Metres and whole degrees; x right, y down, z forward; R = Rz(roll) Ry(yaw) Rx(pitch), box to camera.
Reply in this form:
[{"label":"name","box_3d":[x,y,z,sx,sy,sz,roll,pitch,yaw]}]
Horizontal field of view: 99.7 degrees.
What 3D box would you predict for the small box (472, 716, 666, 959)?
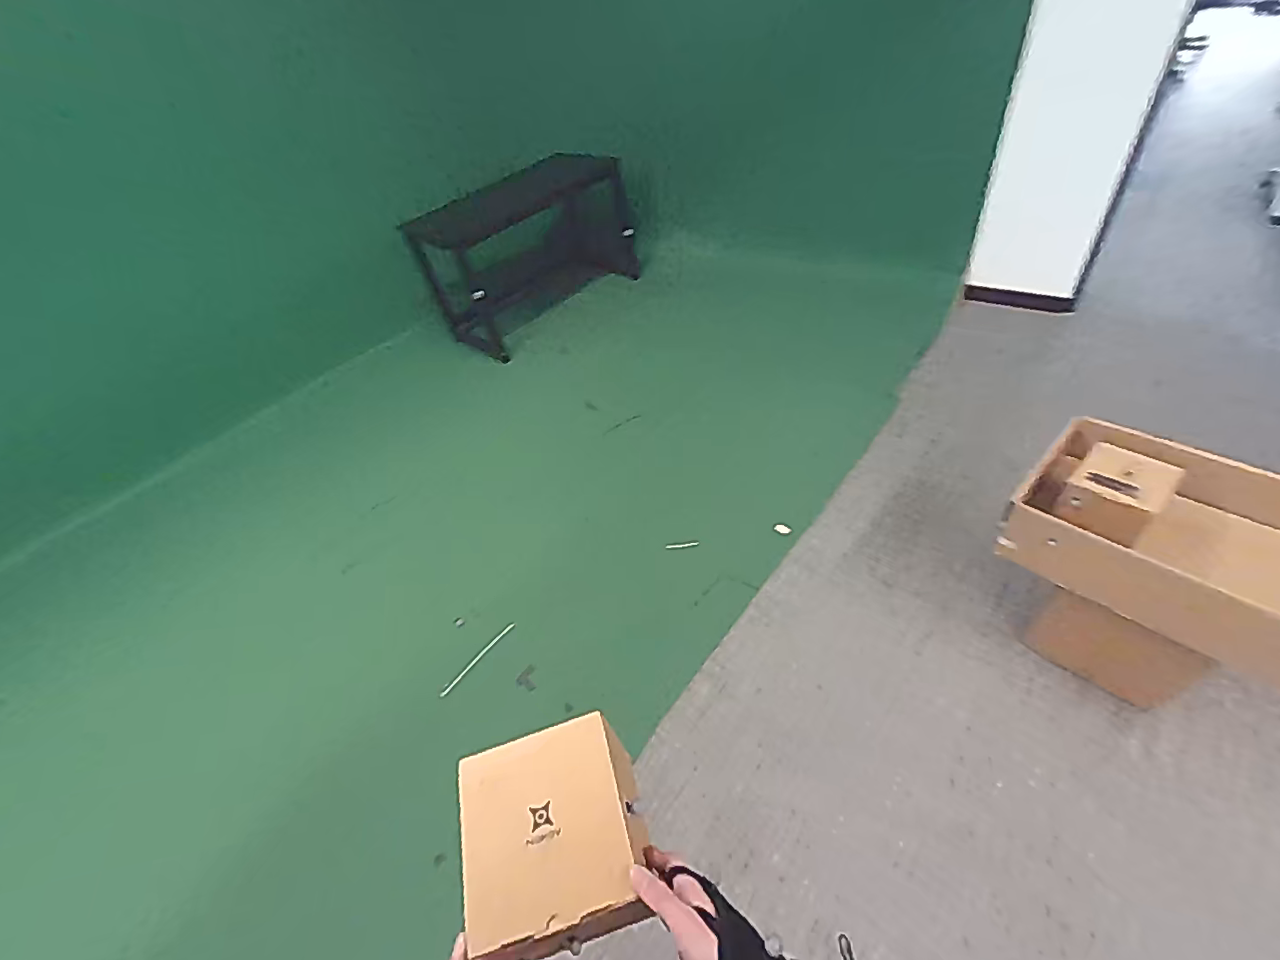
[{"label":"small box","box_3d":[-0.075,0.396,0.602,0.168,0.176,0.179,-16,50,-4]}]
